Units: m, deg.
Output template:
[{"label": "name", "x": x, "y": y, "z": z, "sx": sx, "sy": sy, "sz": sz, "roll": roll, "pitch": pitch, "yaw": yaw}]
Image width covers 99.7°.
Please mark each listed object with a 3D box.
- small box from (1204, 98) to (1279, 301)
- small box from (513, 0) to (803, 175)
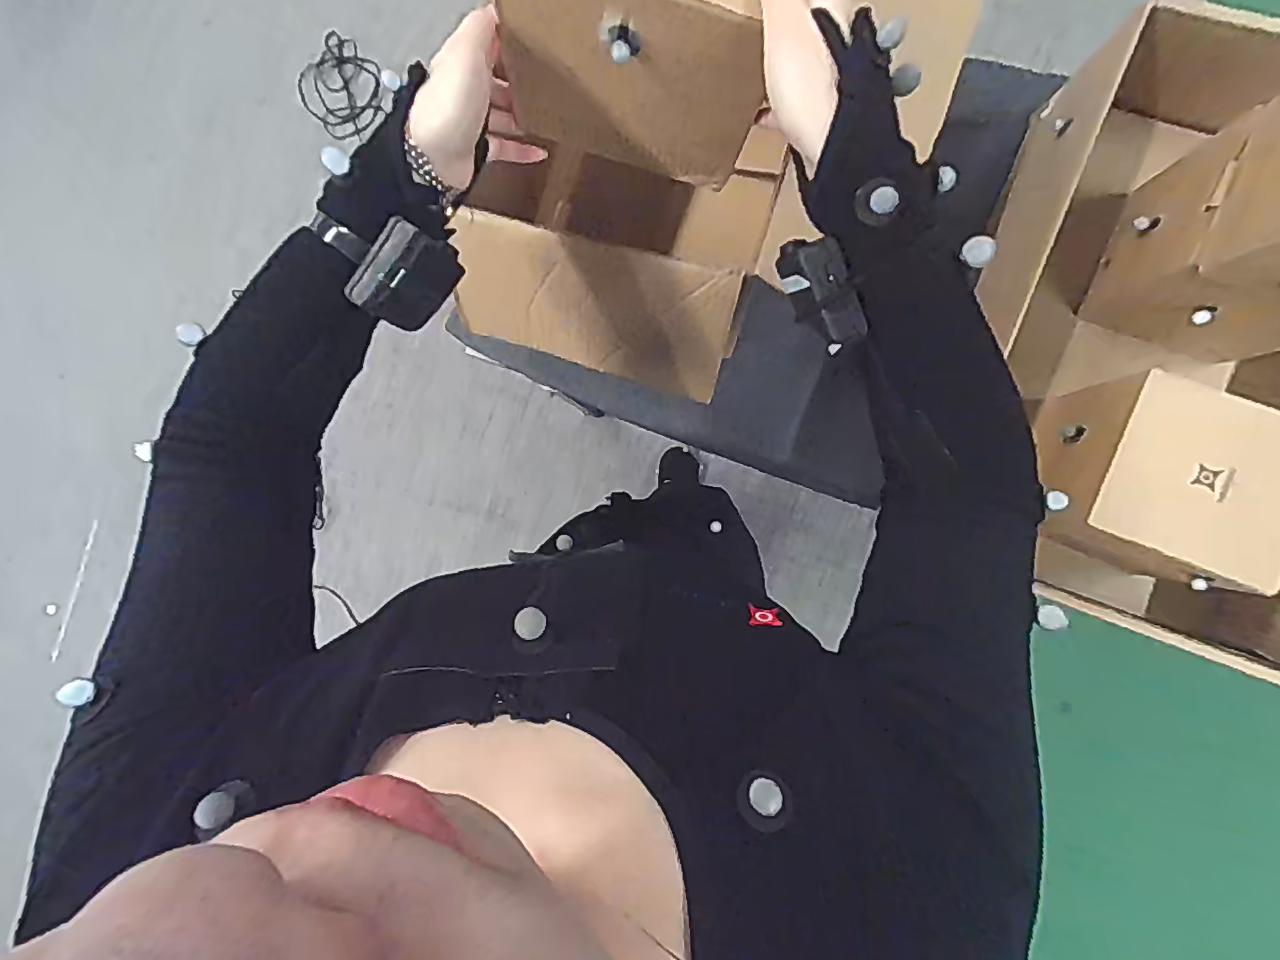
[{"label": "small box", "x": 0.620, "y": -0.246, "z": 0.421, "sx": 0.168, "sy": 0.176, "sz": 0.179, "roll": 22, "pitch": 94, "yaw": 6}, {"label": "small box", "x": 0.016, "y": -0.346, "z": 0.366, "sx": 0.179, "sy": 0.176, "sz": 0.168, "roll": 15, "pitch": 89, "yaw": -6}]
